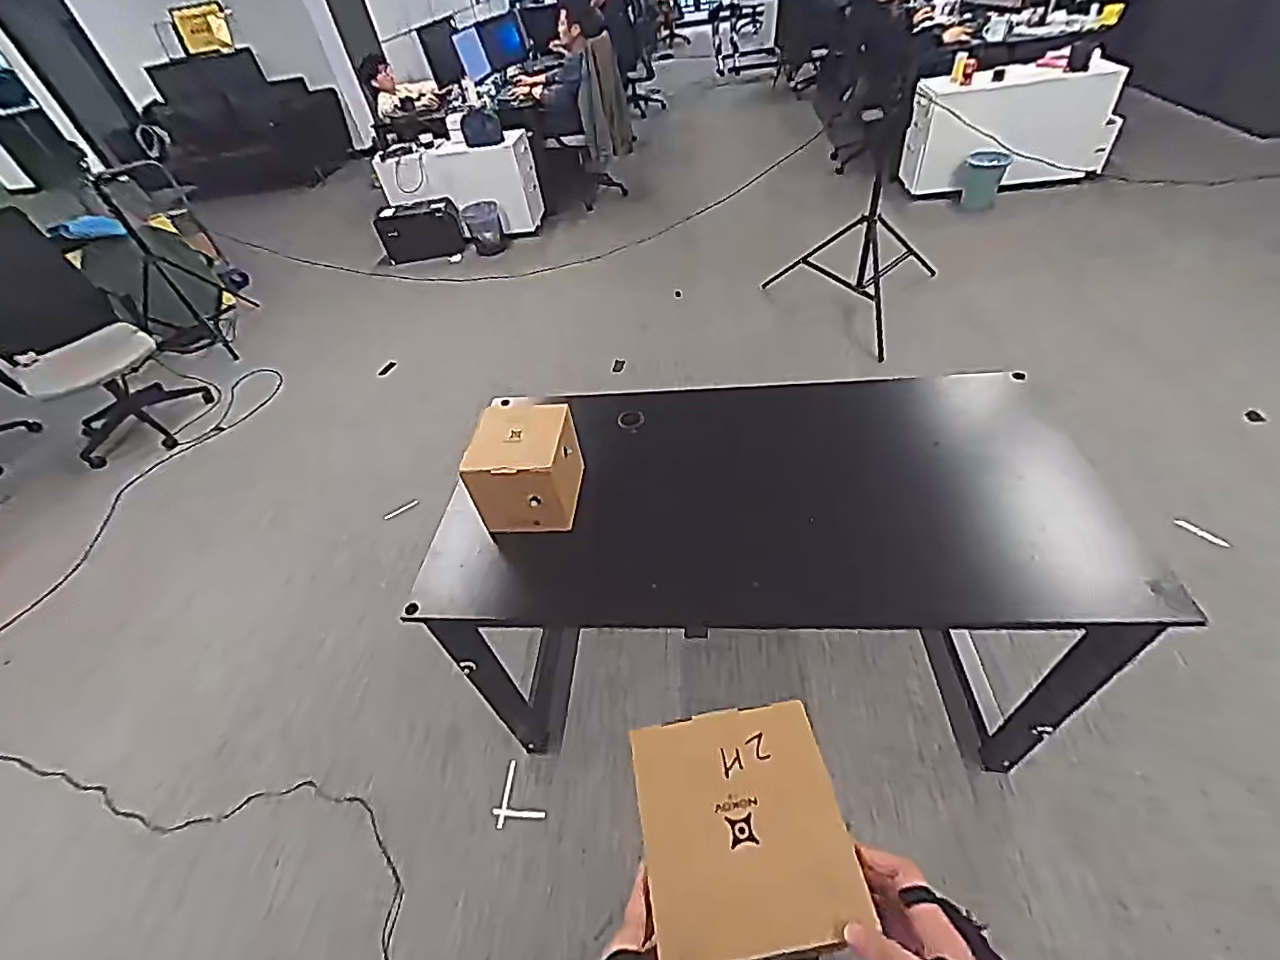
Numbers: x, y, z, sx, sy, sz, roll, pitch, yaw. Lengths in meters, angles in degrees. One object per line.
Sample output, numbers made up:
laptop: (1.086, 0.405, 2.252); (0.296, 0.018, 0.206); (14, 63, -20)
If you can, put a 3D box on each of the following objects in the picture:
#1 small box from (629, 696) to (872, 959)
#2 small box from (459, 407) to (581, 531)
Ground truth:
small box: (0.088, 0.333, 0.507); (0.168, 0.176, 0.179); (-9, 45, -2)
small box: (-0.213, -0.017, 1.020); (0.168, 0.176, 0.179); (-1, 45, 7)
